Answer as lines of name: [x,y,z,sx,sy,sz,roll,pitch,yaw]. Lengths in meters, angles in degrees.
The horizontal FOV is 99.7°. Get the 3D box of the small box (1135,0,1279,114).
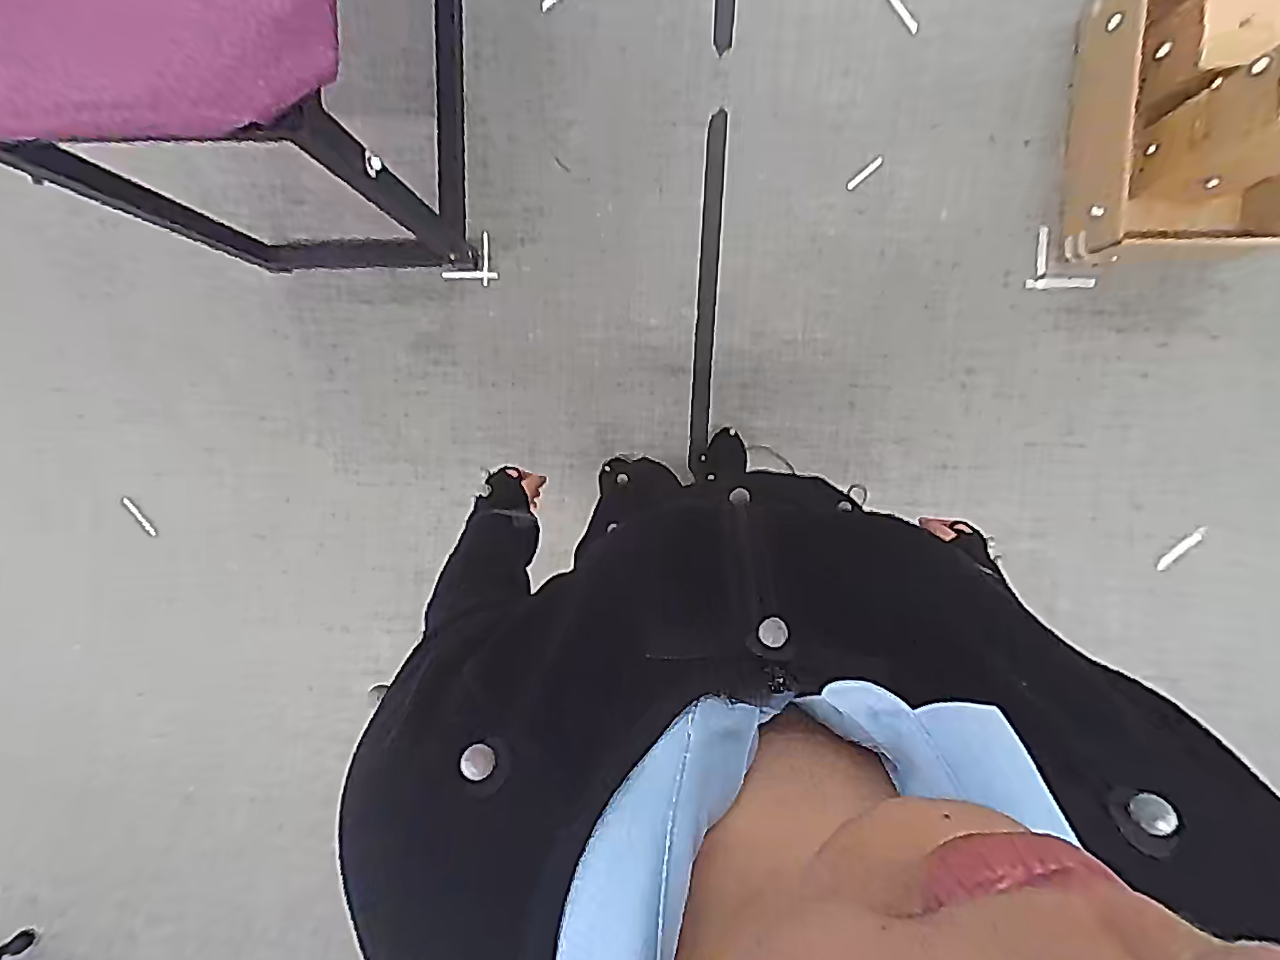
small box: [1.287,-0.965,1.231,0.179,0.176,0.168,-1,97,3]

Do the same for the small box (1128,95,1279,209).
small box: [1.302,-0.750,1.254,0.179,0.176,0.168,6,93,3]
